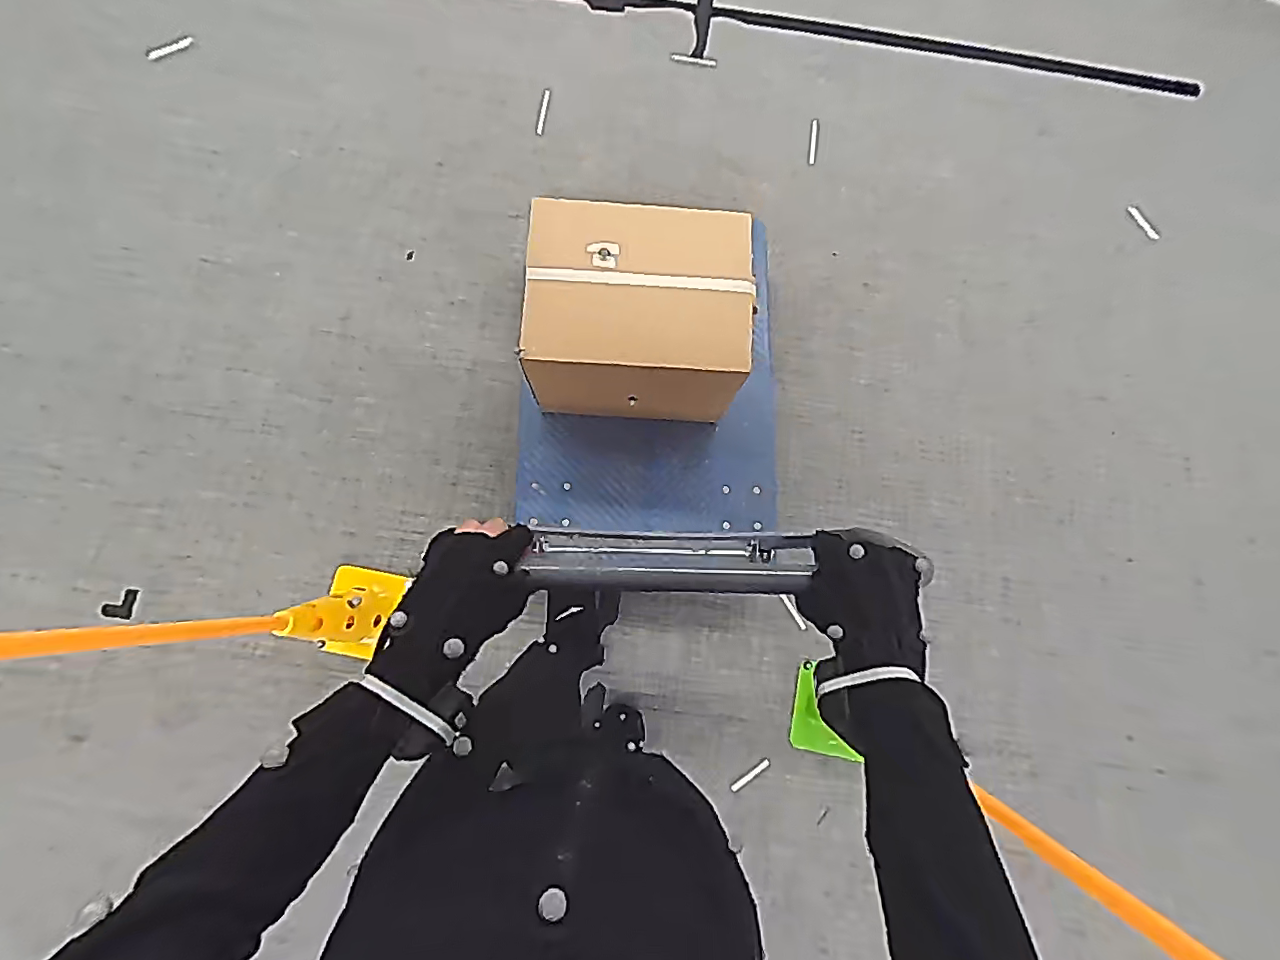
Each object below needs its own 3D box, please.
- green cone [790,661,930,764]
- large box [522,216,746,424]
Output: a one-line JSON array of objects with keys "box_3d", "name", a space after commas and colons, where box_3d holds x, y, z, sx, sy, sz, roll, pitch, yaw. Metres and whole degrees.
[{"box_3d": [0.476, 0.518, 1.127, 0.202, 0.368, 0.200, 13, 78, -1], "name": "green cone"}, {"box_3d": [-0.009, -0.307, 1.124, 0.408, 0.320, 0.320, 3, 80, -2], "name": "large box"}]
